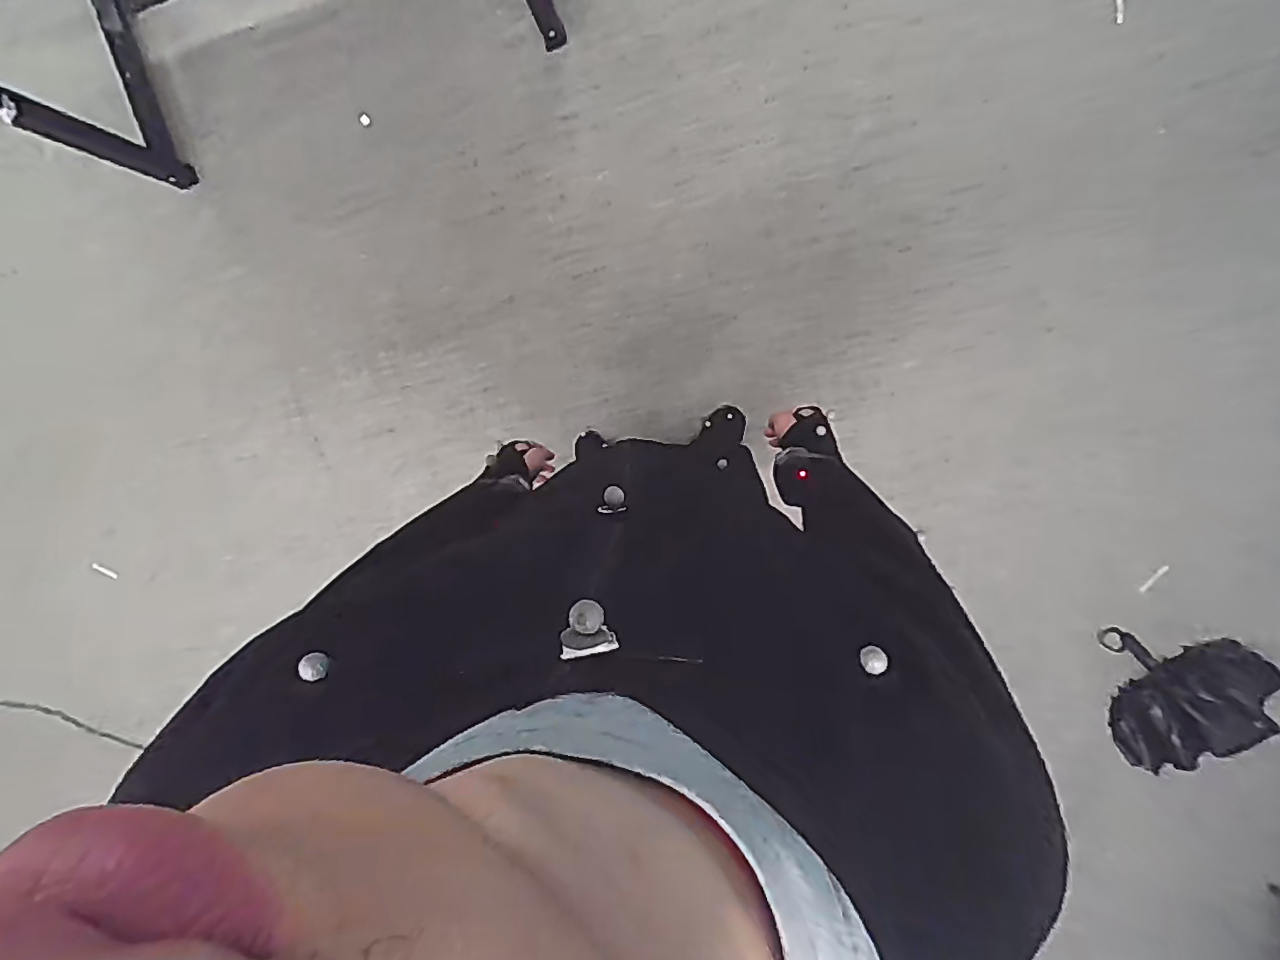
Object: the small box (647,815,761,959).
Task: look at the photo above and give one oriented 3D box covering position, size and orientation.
[{"bbox_3d":[0.122,0.763,0.996,0.168,0.176,0.179,-15,99,10],"label":"small box"}]
